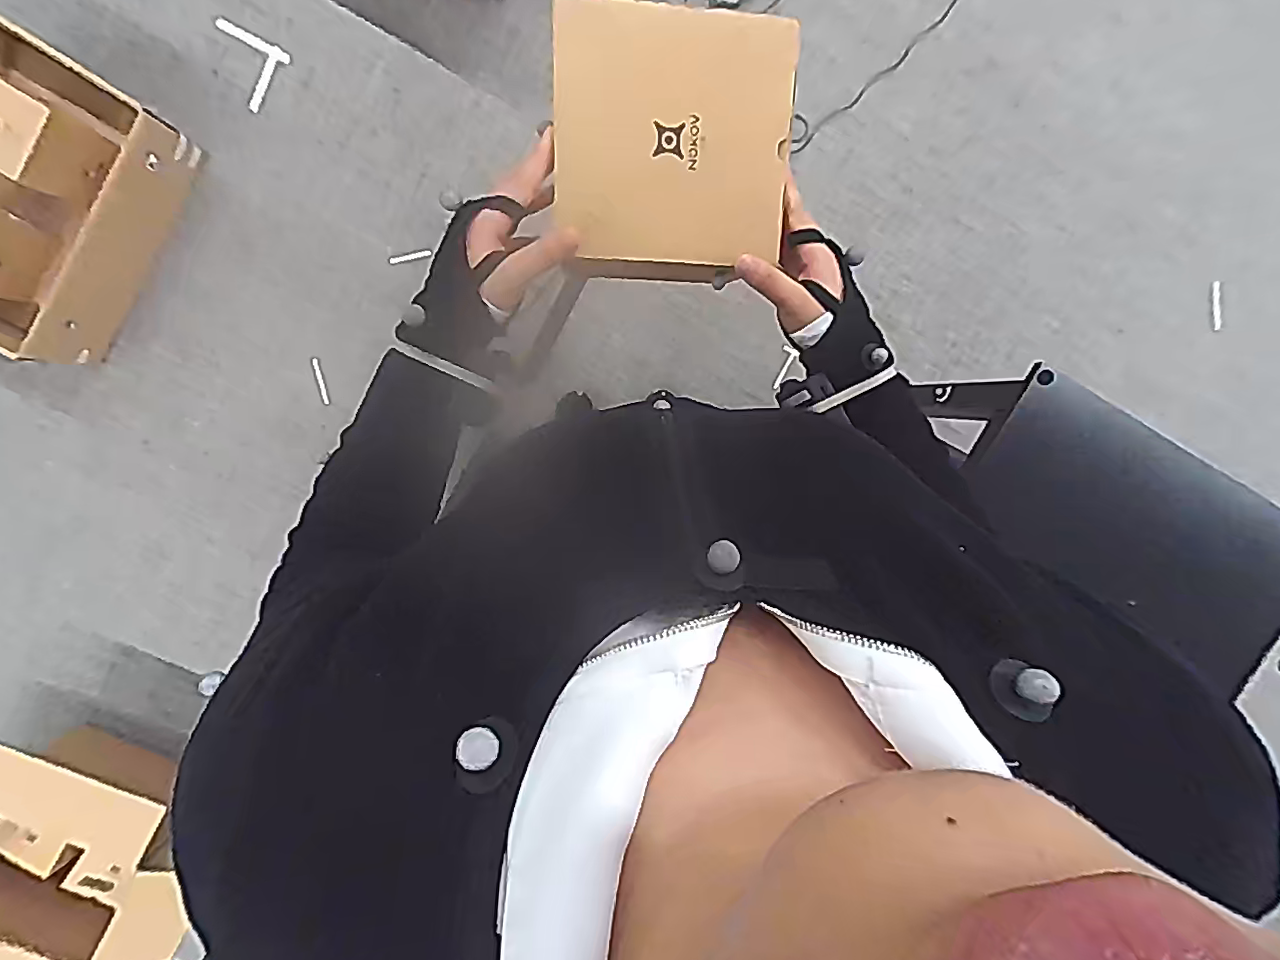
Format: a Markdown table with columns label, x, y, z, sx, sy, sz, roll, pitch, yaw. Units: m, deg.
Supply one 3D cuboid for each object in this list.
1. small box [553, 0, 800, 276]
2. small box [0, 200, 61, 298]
| label | x | y | z | sx | sy | sz | roll | pitch | yaw |
| --- | --- | --- | --- | --- | --- | --- | --- | --- | --- |
| small box | 0.015 | -0.274 | 0.471 | 0.179 | 0.176 | 0.168 | 0 | 107 | -8 |
| small box | -1.457 | -0.526 | 1.187 | 0.168 | 0.176 | 0.179 | 32 | 93 | -10 |
